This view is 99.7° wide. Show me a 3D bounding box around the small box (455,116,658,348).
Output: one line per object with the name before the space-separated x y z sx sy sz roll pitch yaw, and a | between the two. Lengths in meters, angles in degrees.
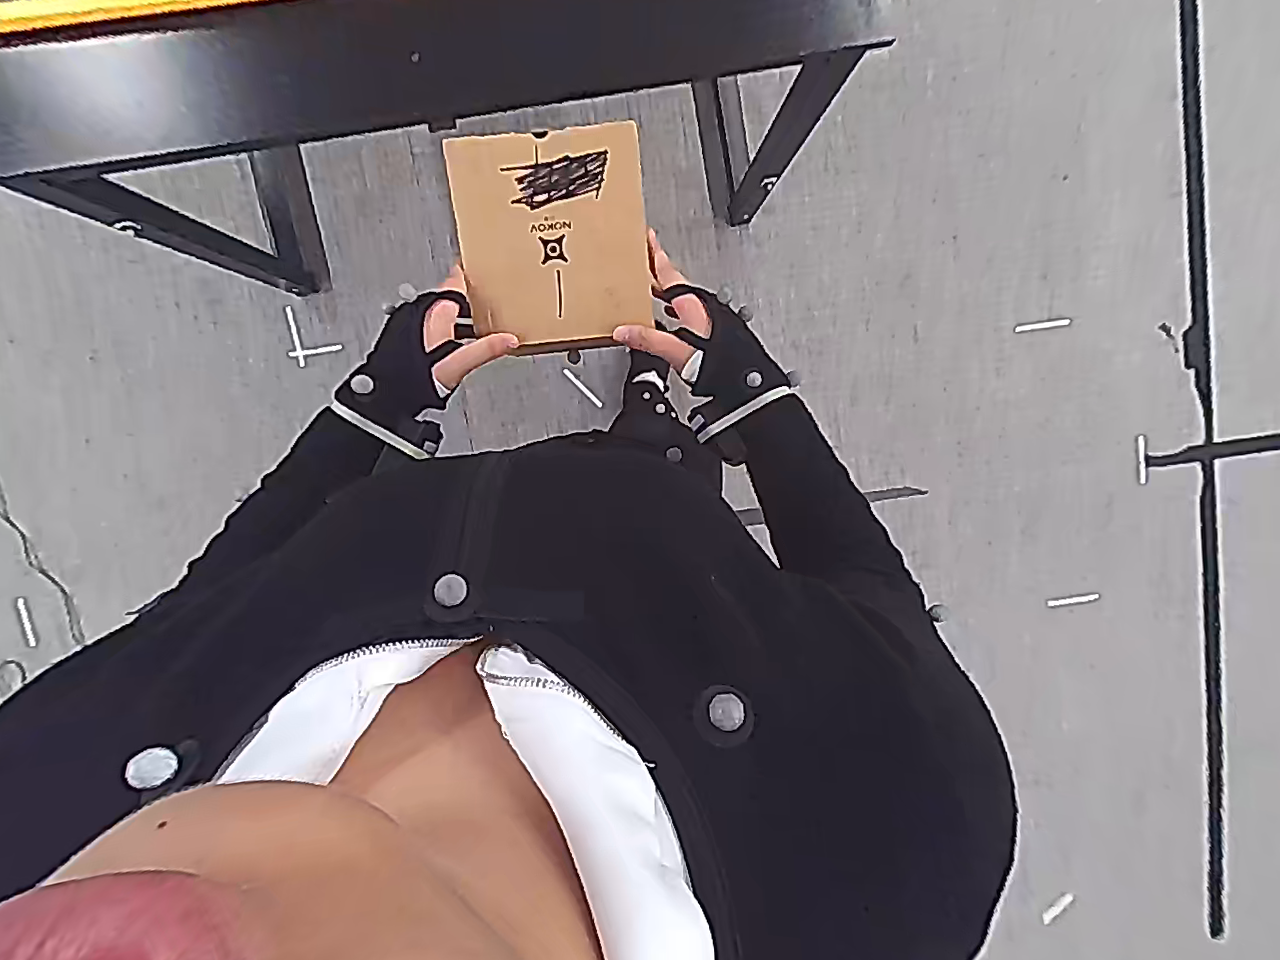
small box | -0.073 -0.235 0.555 0.168 0.176 0.179 -5 102 0
